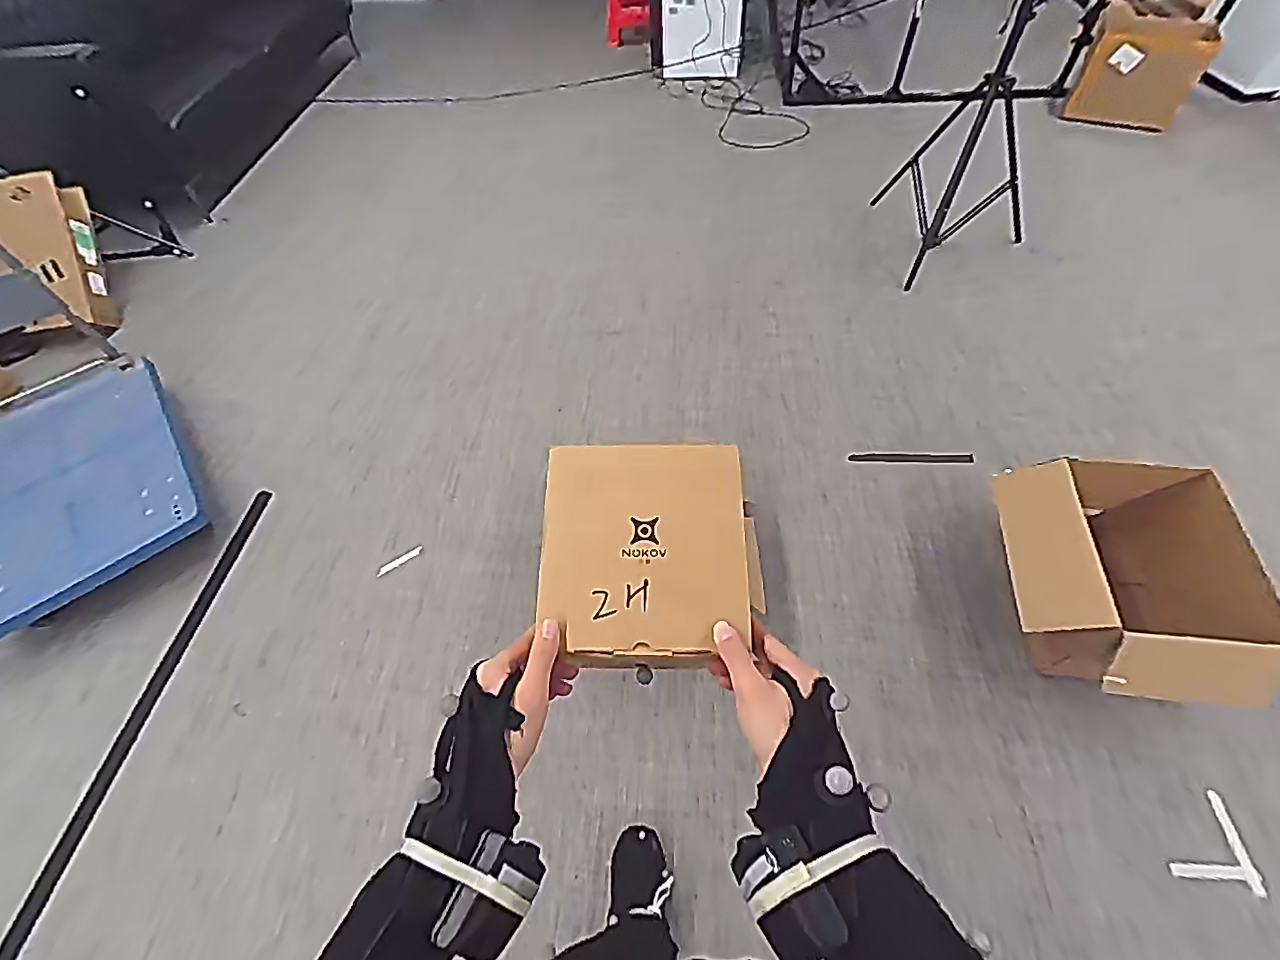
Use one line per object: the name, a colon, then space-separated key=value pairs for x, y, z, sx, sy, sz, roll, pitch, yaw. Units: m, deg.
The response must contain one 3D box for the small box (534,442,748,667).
small box: x=0.003 y=0.078 z=0.513 sx=0.168 sy=0.176 sz=0.179 roll=0 pitch=68 yaw=2
